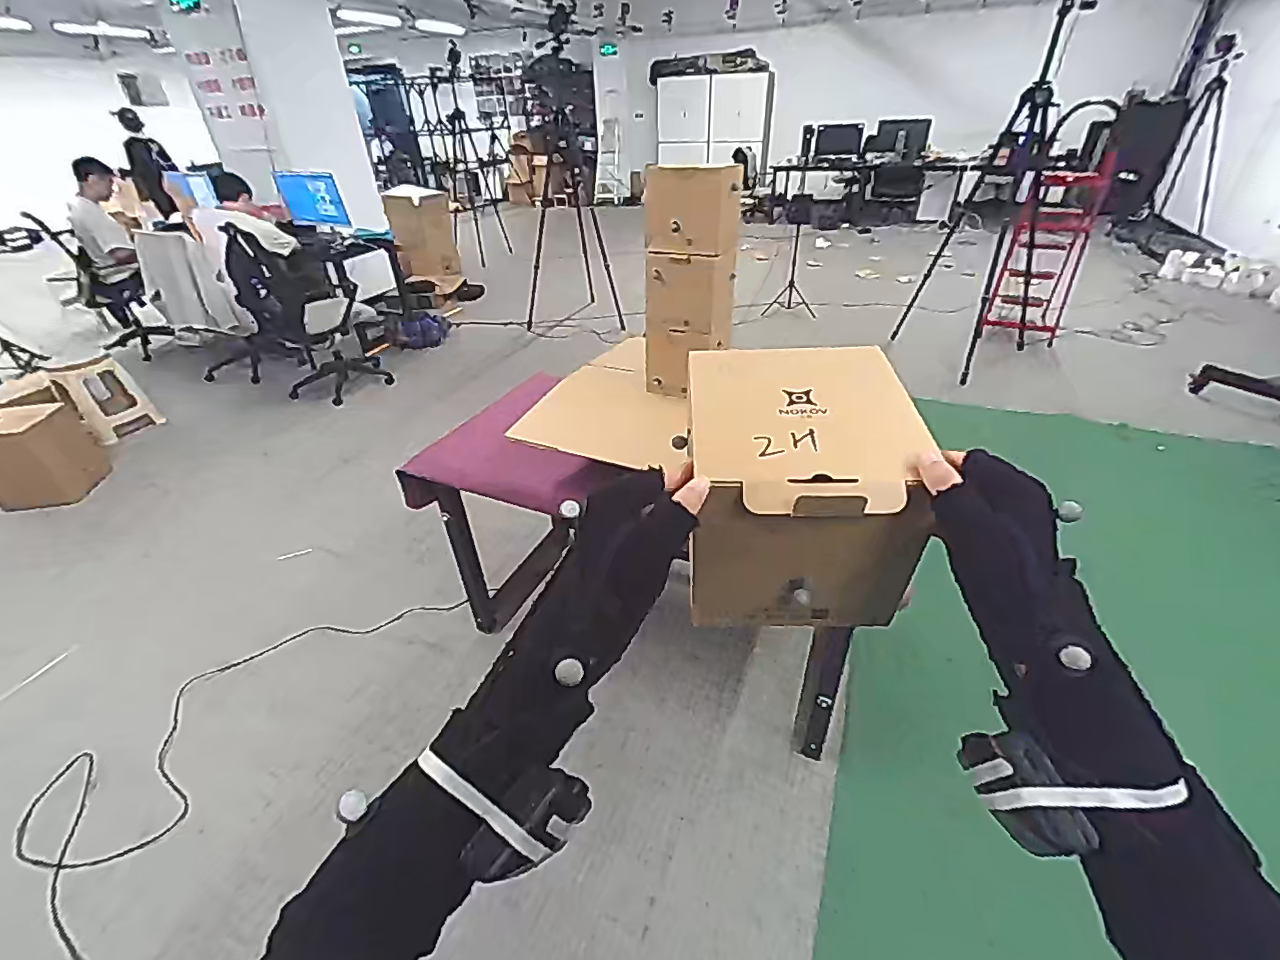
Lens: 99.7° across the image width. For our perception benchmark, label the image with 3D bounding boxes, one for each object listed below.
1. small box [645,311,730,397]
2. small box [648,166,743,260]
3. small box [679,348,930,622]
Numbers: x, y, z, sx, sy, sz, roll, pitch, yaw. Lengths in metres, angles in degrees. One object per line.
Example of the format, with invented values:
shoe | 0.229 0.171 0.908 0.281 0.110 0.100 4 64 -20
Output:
small box | 0.123 -0.318 1.374 0.168 0.176 0.179 13 35 22
small box | 0.120 -0.598 1.204 0.168 0.176 0.179 12 34 20
small box | 0.117 0.002 0.473 0.168 0.176 0.179 -1 43 5
